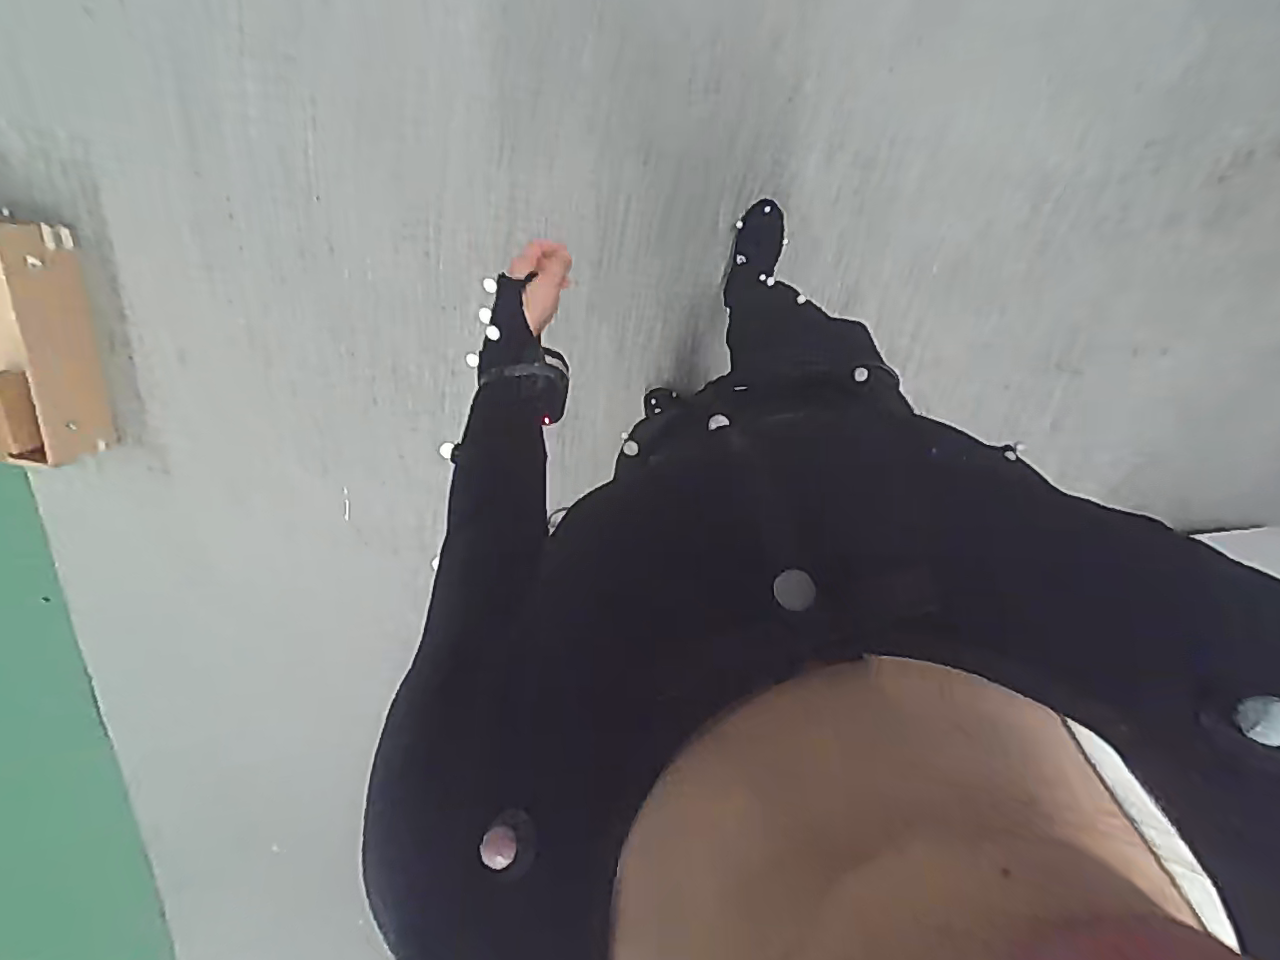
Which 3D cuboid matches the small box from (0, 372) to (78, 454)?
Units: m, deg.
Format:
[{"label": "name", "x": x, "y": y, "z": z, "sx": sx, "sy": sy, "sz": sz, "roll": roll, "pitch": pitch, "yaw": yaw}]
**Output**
[{"label": "small box", "x": -1.662, "y": -0.182, "z": 1.421, "sx": 0.179, "sy": 0.176, "sz": 0.168, "roll": 7, "pitch": 113, "yaw": -1}]
